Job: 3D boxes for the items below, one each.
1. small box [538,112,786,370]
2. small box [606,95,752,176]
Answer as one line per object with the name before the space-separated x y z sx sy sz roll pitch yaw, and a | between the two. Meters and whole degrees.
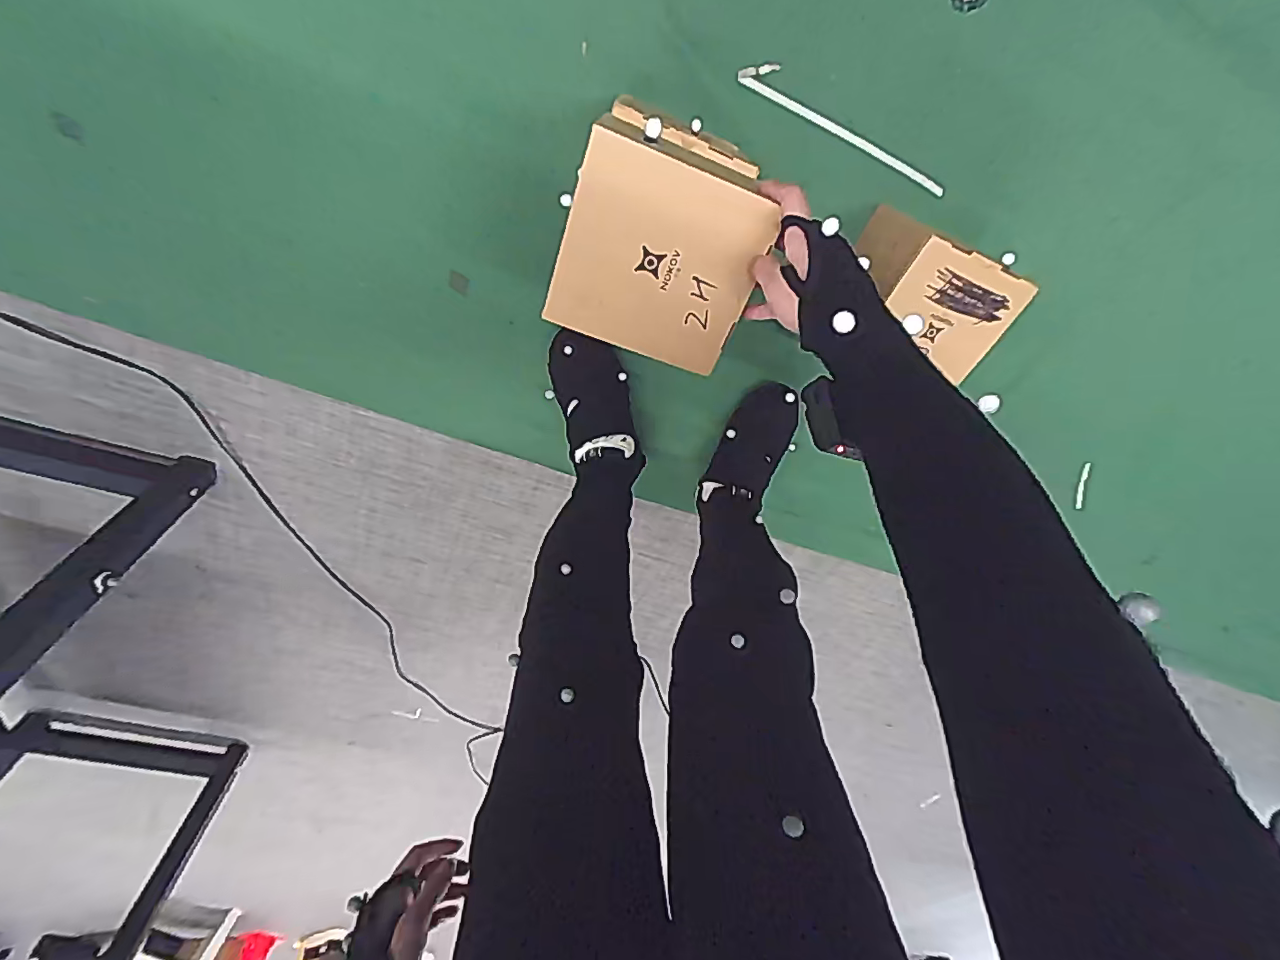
small box | 0.013 -0.241 0.540 0.179 0.176 0.168 17 125 -13
small box | 0.017 -0.344 0.668 0.168 0.176 0.179 17 125 -12
